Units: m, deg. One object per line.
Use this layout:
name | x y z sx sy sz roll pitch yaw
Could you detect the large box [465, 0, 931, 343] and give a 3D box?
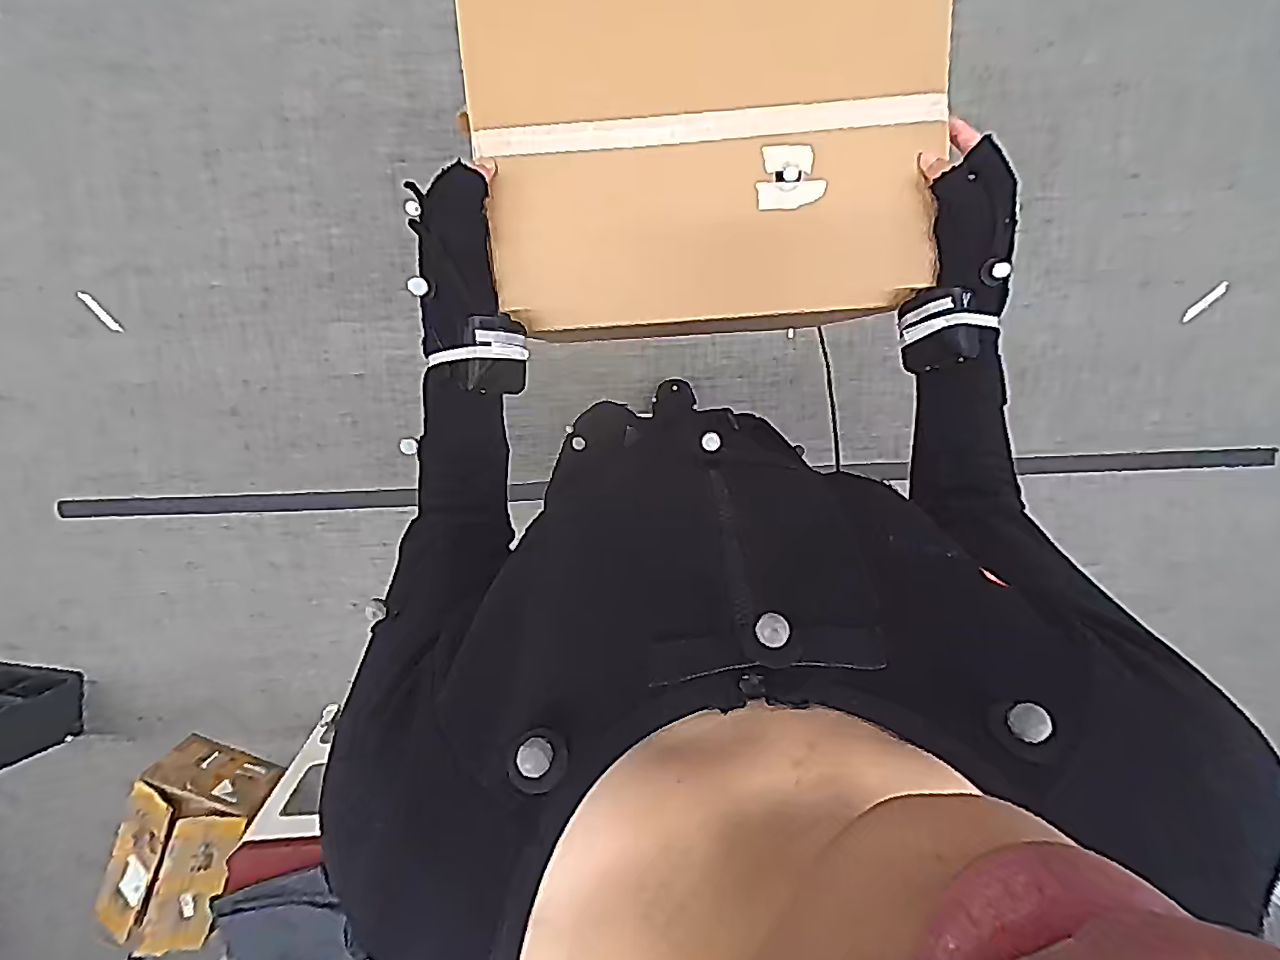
large box | 0.055 -0.340 0.628 0.408 0.320 0.320 -4 103 0
